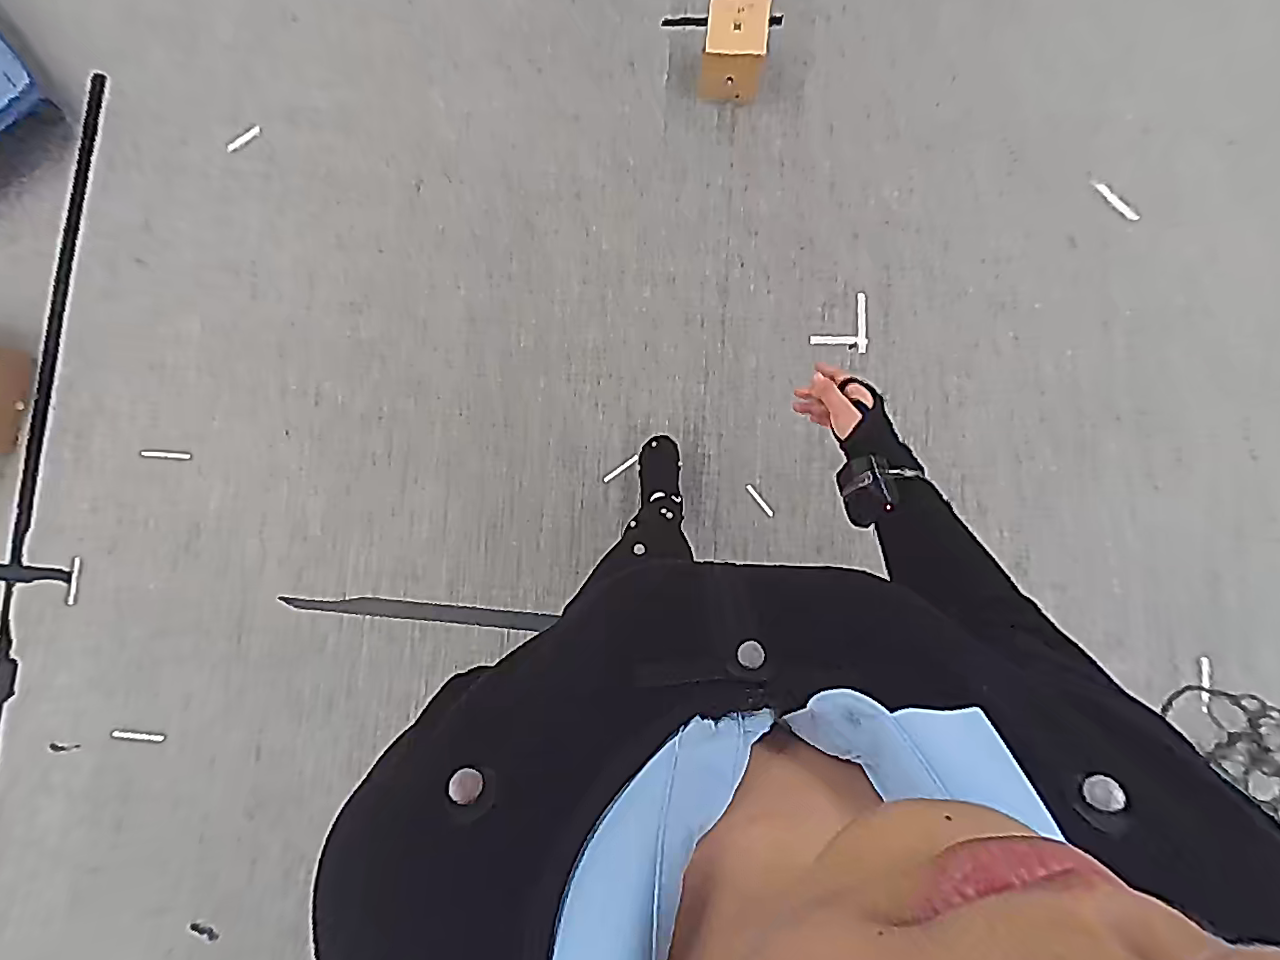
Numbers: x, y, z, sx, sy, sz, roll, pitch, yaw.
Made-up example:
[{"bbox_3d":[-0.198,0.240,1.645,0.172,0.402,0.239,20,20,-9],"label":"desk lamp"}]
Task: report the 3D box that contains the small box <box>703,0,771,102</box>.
[{"bbox_3d":[0.273,-1.223,1.545,0.168,0.176,0.179,6,84,3],"label":"small box"}]
